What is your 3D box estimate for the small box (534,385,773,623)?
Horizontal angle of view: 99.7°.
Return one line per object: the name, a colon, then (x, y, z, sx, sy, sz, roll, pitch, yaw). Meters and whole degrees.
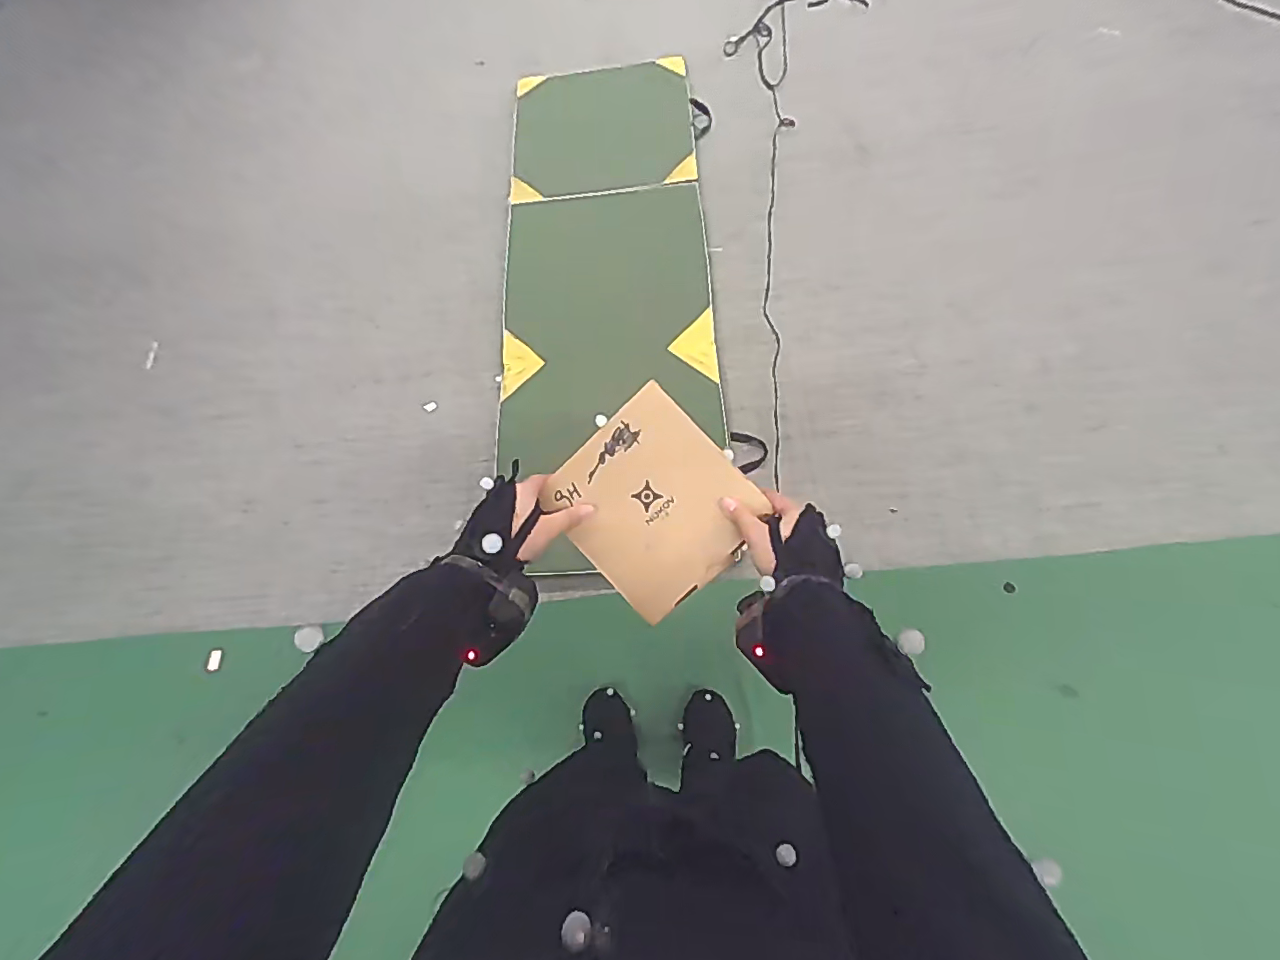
small box: (0.018, 0.022, 0.599, 0.168, 0.176, 0.179, -43, 87, 3)
